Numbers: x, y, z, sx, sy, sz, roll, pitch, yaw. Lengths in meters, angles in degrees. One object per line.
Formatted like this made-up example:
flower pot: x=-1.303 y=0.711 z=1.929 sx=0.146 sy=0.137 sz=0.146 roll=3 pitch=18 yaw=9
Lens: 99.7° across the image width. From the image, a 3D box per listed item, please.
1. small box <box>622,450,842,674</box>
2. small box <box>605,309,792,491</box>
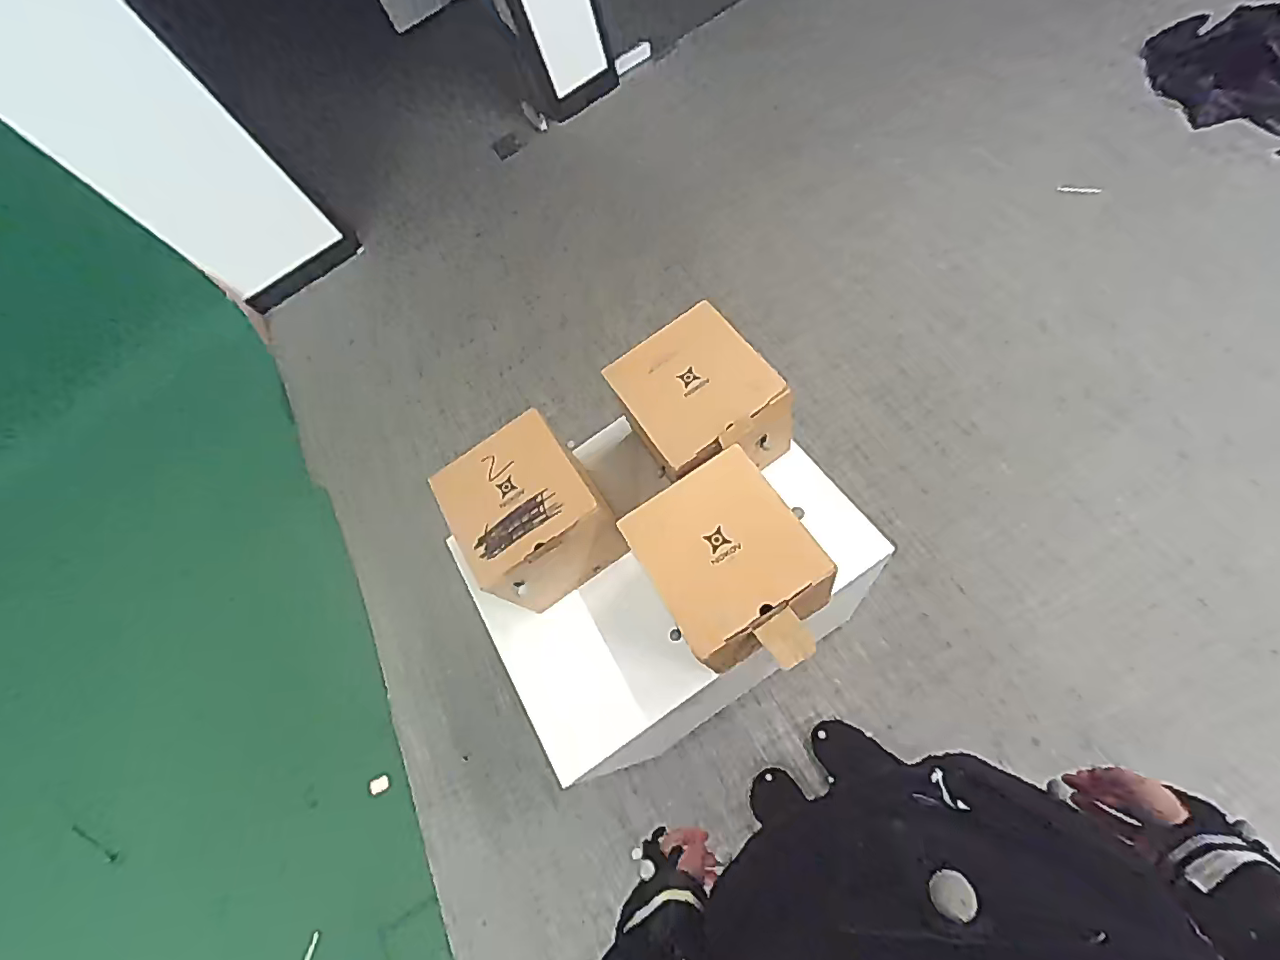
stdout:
small box: x=0.105 y=0.104 z=0.631 sx=0.168 sy=0.176 sz=0.179 roll=-33 pitch=62 yaw=-1
small box: x=0.084 y=-0.081 z=0.719 sx=0.168 sy=0.176 sz=0.179 roll=-35 pitch=62 yaw=-3
